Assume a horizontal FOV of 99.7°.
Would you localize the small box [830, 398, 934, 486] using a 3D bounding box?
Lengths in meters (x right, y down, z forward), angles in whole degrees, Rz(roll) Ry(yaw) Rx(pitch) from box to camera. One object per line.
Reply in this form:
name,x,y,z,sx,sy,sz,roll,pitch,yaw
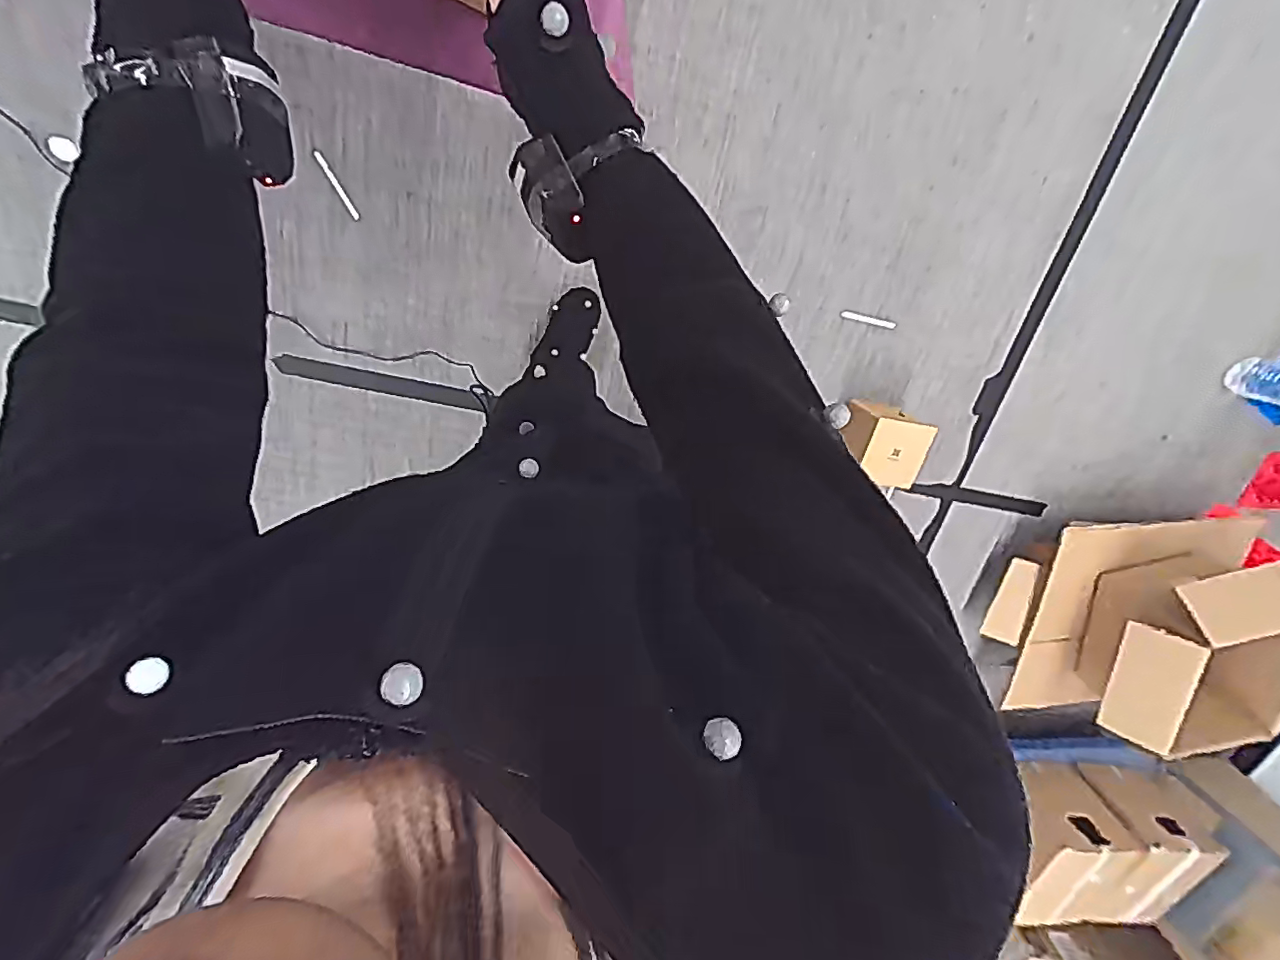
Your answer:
small box,0.634,-0.107,1.445,0.168,0.176,0.179,8,115,-10
